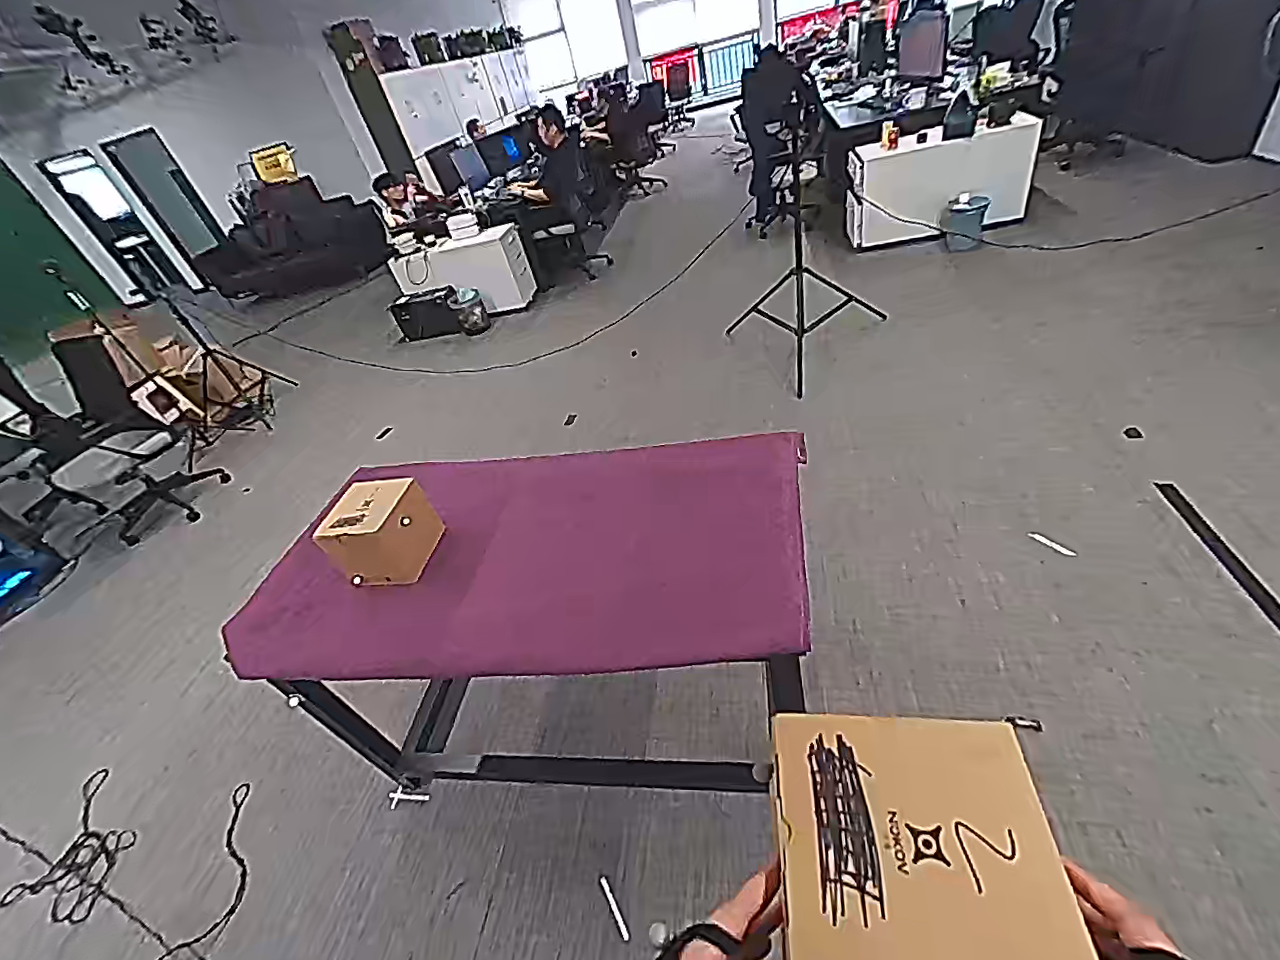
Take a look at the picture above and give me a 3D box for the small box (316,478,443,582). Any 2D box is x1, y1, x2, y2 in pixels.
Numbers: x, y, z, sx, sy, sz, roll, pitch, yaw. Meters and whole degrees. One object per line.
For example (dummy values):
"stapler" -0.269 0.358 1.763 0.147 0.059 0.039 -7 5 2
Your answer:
"small box" -0.583 0.120 1.237 0.168 0.176 0.179 -4 40 14
